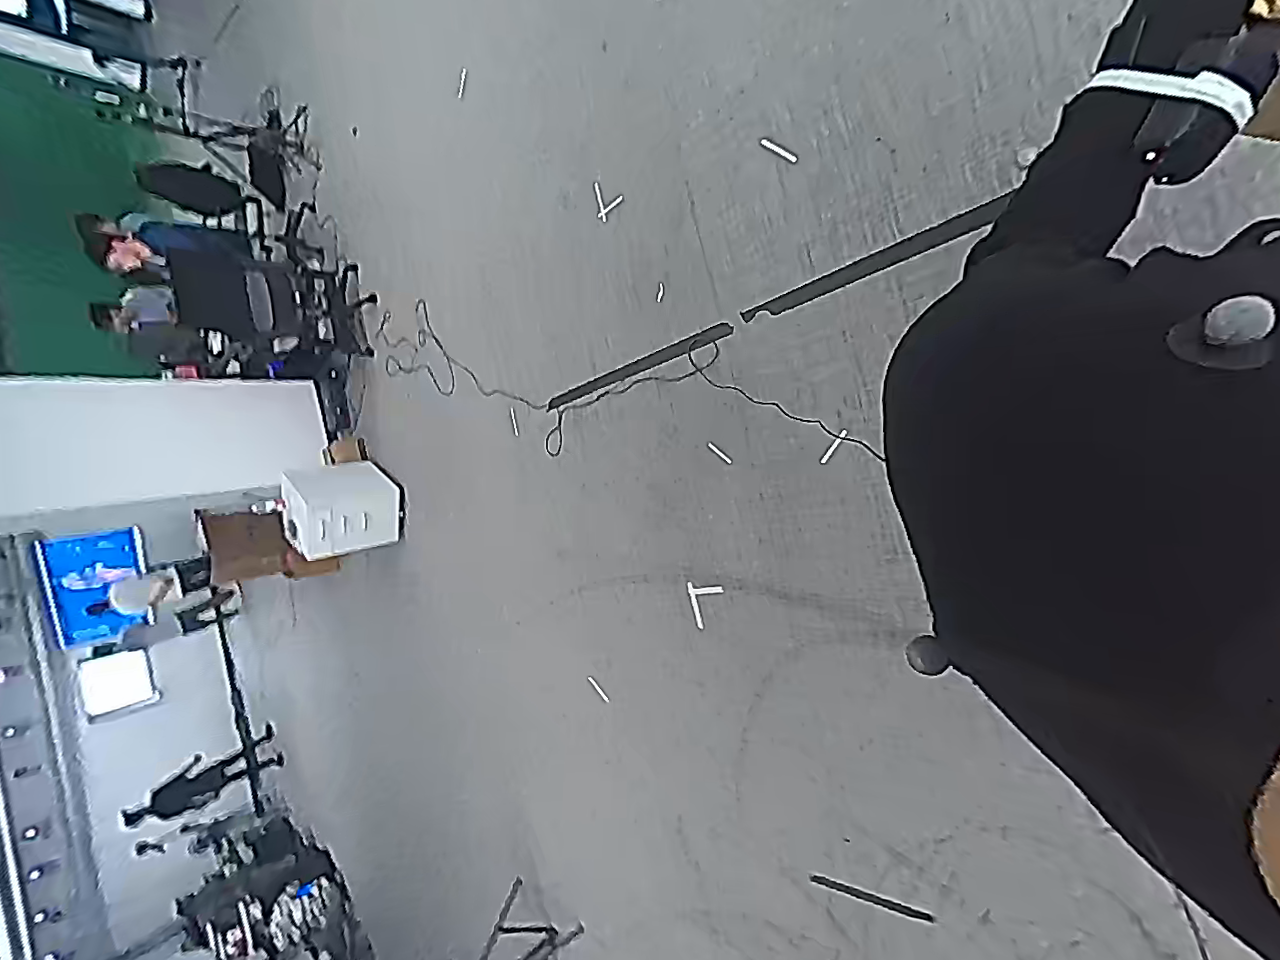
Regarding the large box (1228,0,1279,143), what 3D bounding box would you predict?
[{"bbox_3d":[0.637,-0.329,0.247,0.408,0.320,0.320,38,128,31],"label":"large box"}]
